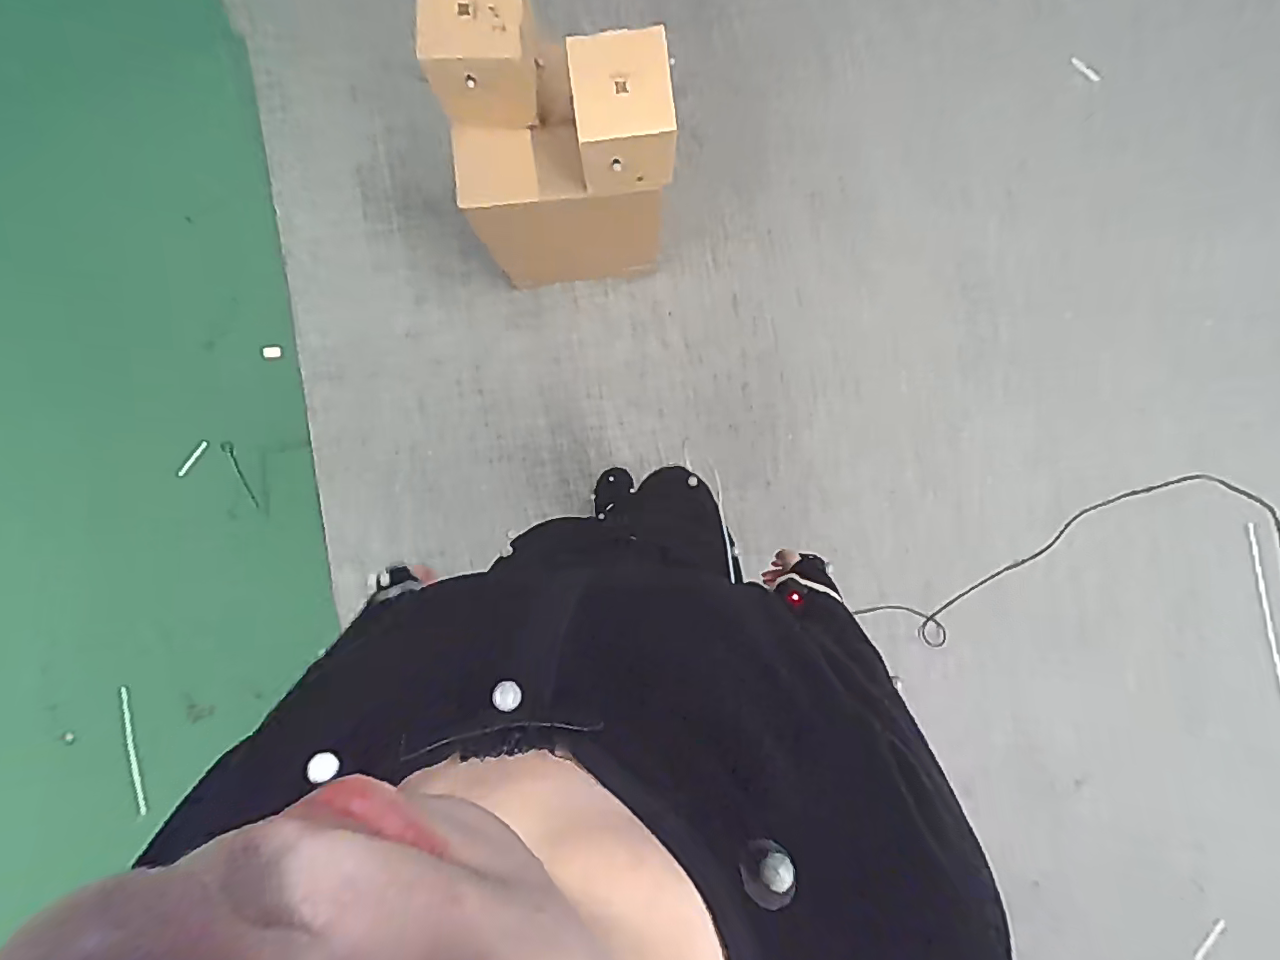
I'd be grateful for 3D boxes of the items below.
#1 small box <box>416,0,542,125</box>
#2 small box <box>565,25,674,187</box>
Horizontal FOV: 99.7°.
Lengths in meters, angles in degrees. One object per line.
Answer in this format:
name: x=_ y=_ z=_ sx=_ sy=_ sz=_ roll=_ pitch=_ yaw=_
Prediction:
small box: x=-0.280 y=-0.770 z=0.969 sx=0.179 sy=0.176 sz=0.168 roll=0 pitch=89 yaw=0
small box: x=-0.032 y=-0.650 z=0.965 sx=0.168 sy=0.176 sz=0.179 roll=-7 pitch=90 yaw=0
